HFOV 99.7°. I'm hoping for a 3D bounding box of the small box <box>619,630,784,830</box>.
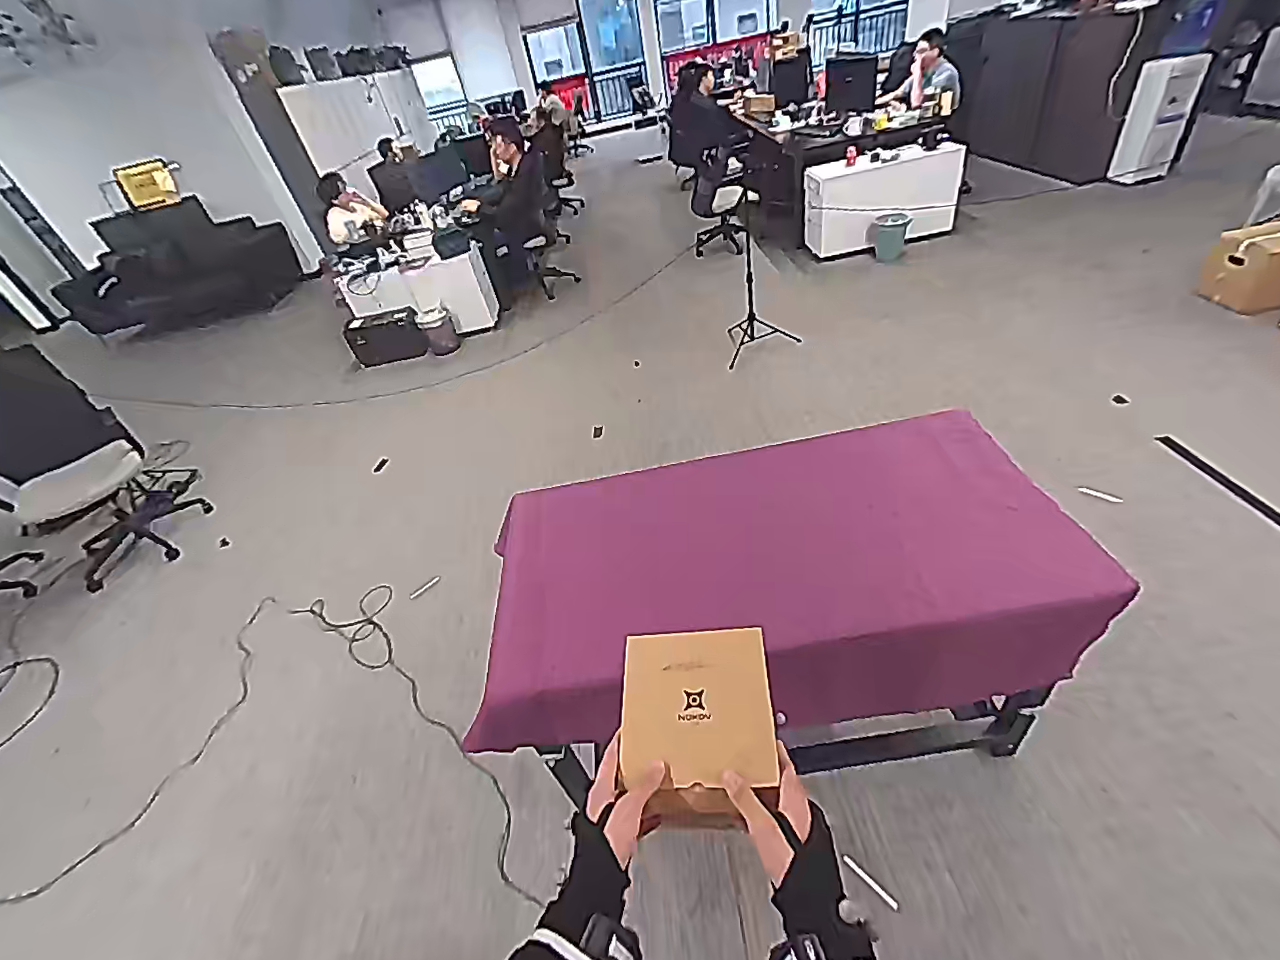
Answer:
[{"bbox_3d":[0.079,0.302,0.647,0.168,0.176,0.179,-6,45,10],"label":"small box"}]
